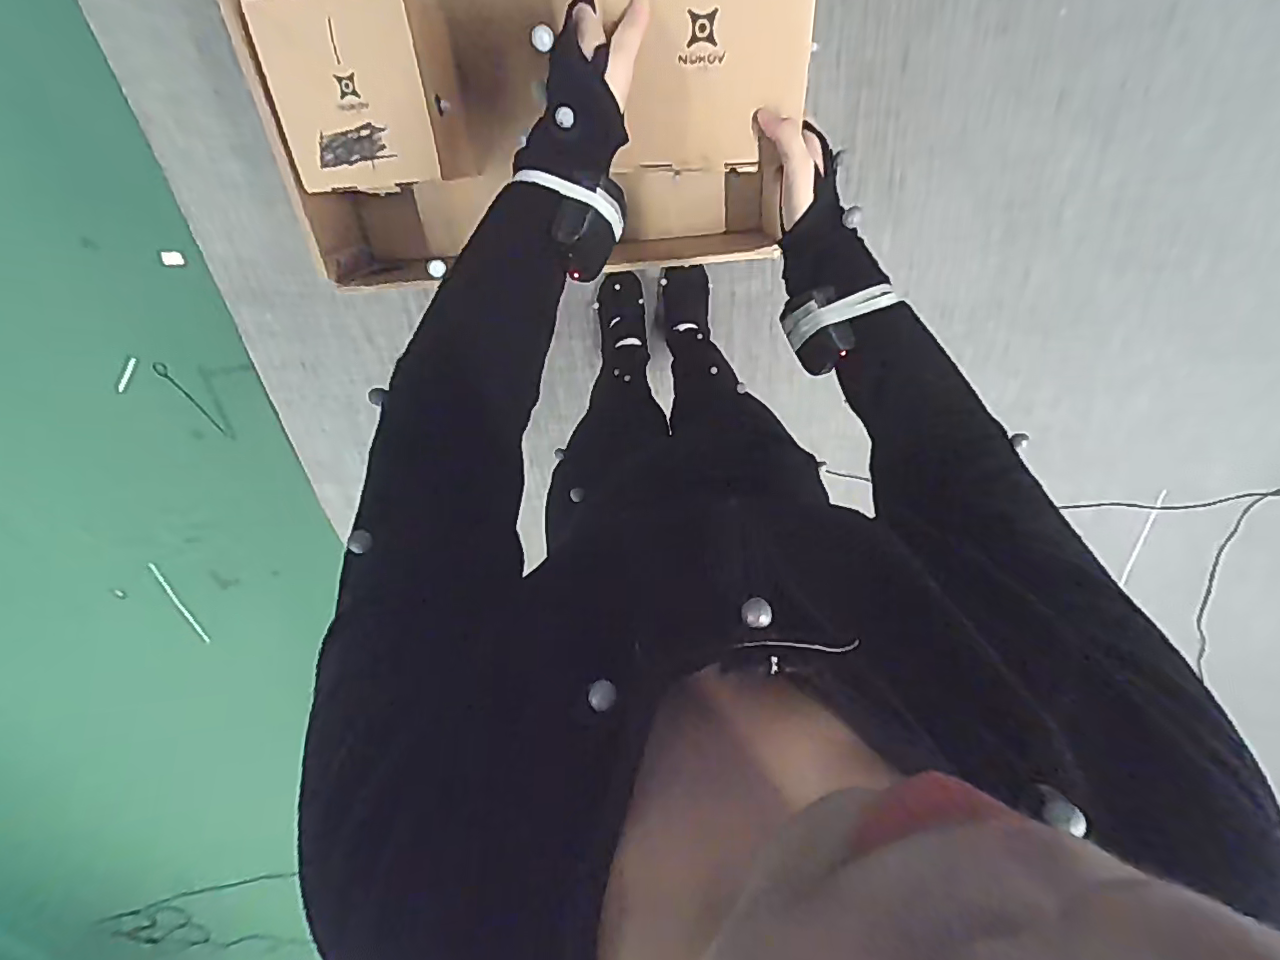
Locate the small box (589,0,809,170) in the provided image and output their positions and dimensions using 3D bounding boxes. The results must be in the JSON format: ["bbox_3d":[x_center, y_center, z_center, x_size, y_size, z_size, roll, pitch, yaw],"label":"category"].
[{"bbox_3d":[0.049,-0.378,0.478,0.168,0.176,0.179,2,120,4],"label":"small box"}]
